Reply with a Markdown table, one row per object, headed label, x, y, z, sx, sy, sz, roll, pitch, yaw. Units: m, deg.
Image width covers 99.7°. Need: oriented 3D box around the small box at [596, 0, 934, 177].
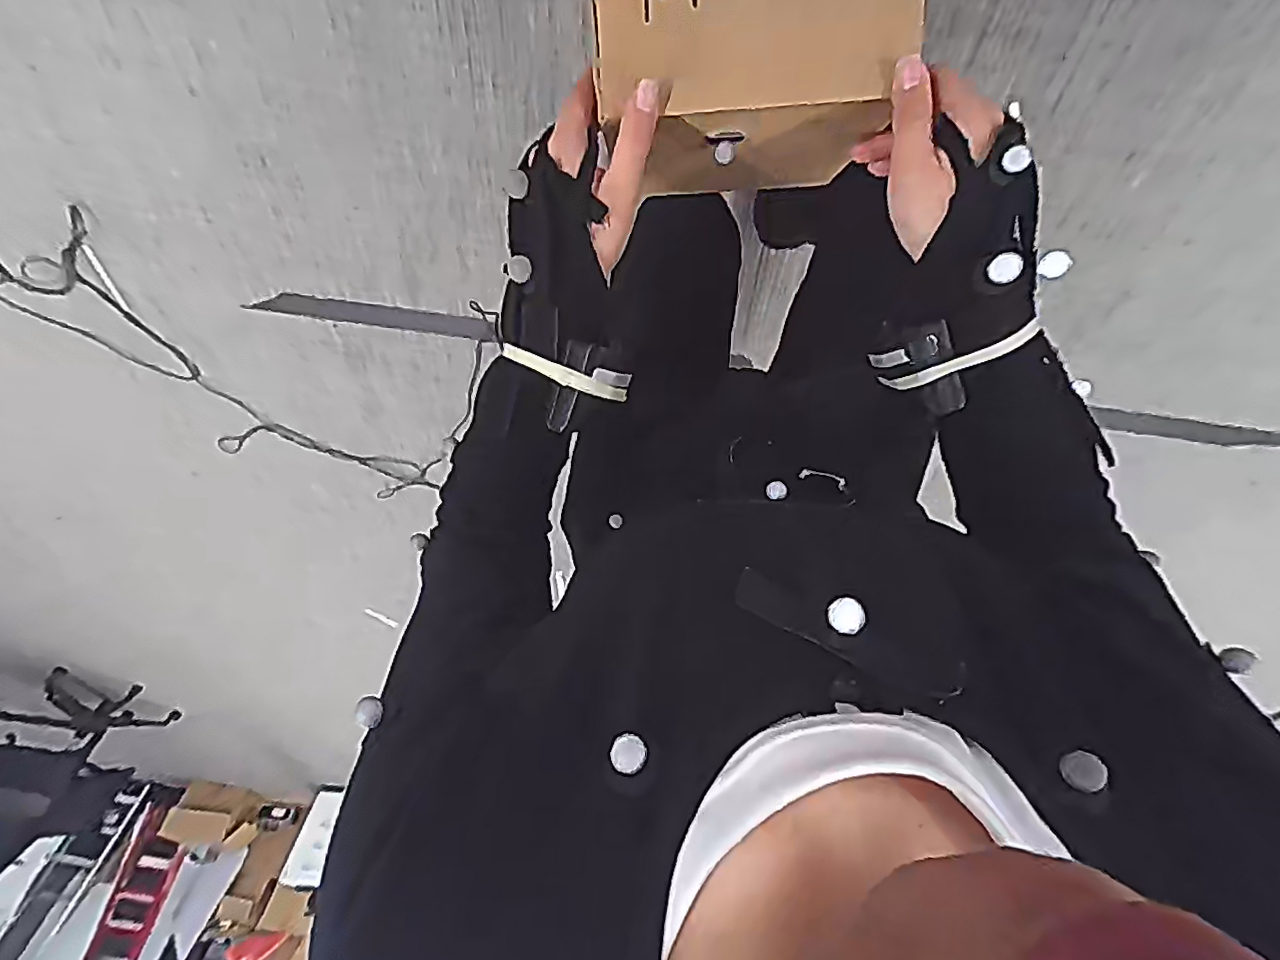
| label | x | y | z | sx | sy | sz | roll | pitch | yaw |
| --- | --- | --- | --- | --- | --- | --- | --- | --- | --- |
| small box | 0.065 | -0.311 | 0.347 | 0.179 | 0.176 | 0.168 | -3 | 105 | 2 |
